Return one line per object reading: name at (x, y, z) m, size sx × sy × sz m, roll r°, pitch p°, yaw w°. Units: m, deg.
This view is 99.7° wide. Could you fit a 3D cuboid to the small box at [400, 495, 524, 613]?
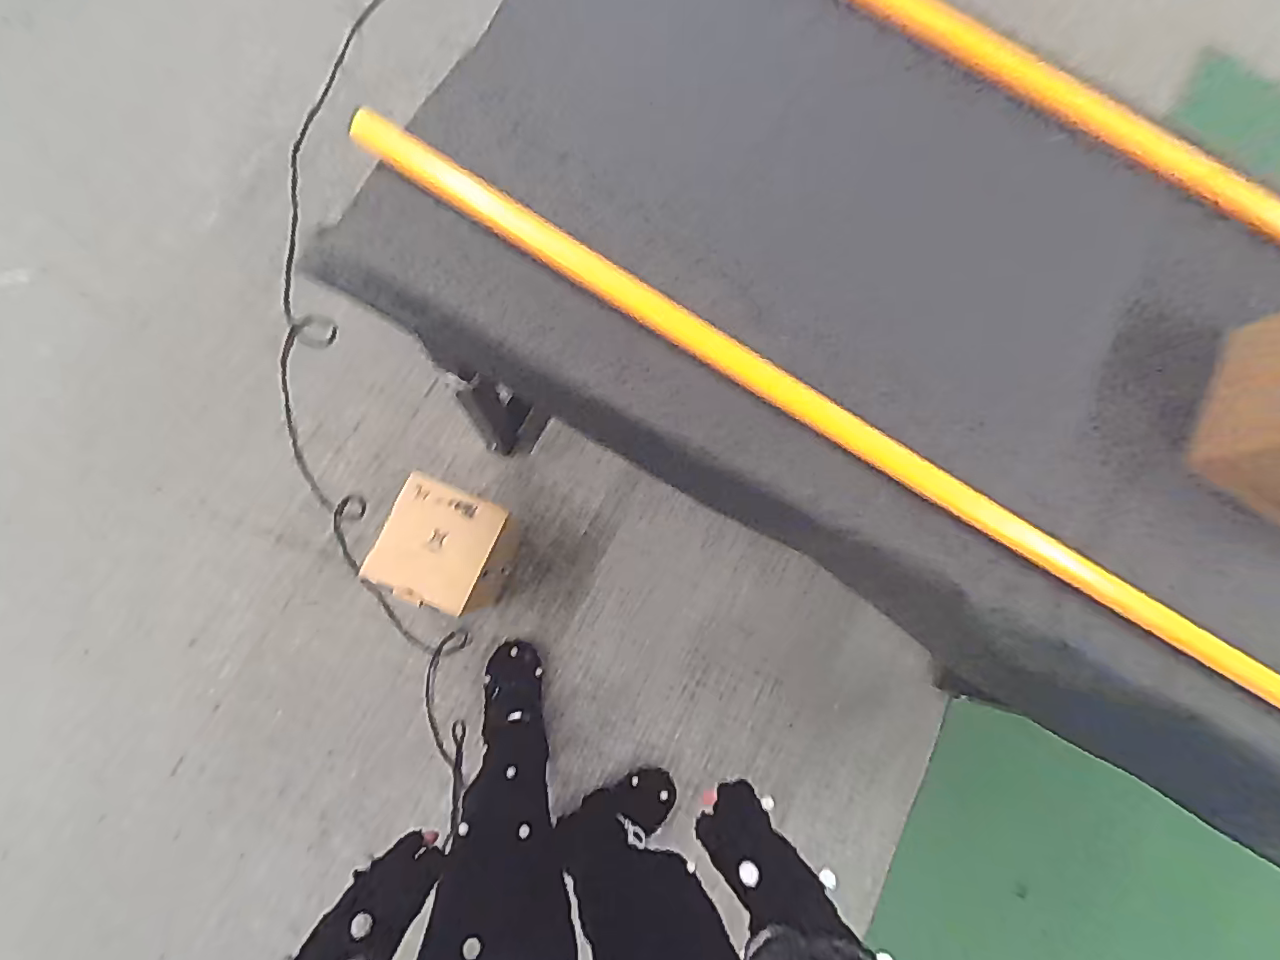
small box at (-0.339, 0.149, 1.068) m, size 0.168 × 0.176 × 0.179 m, roll 21°, pitch 78°, yaw -2°
